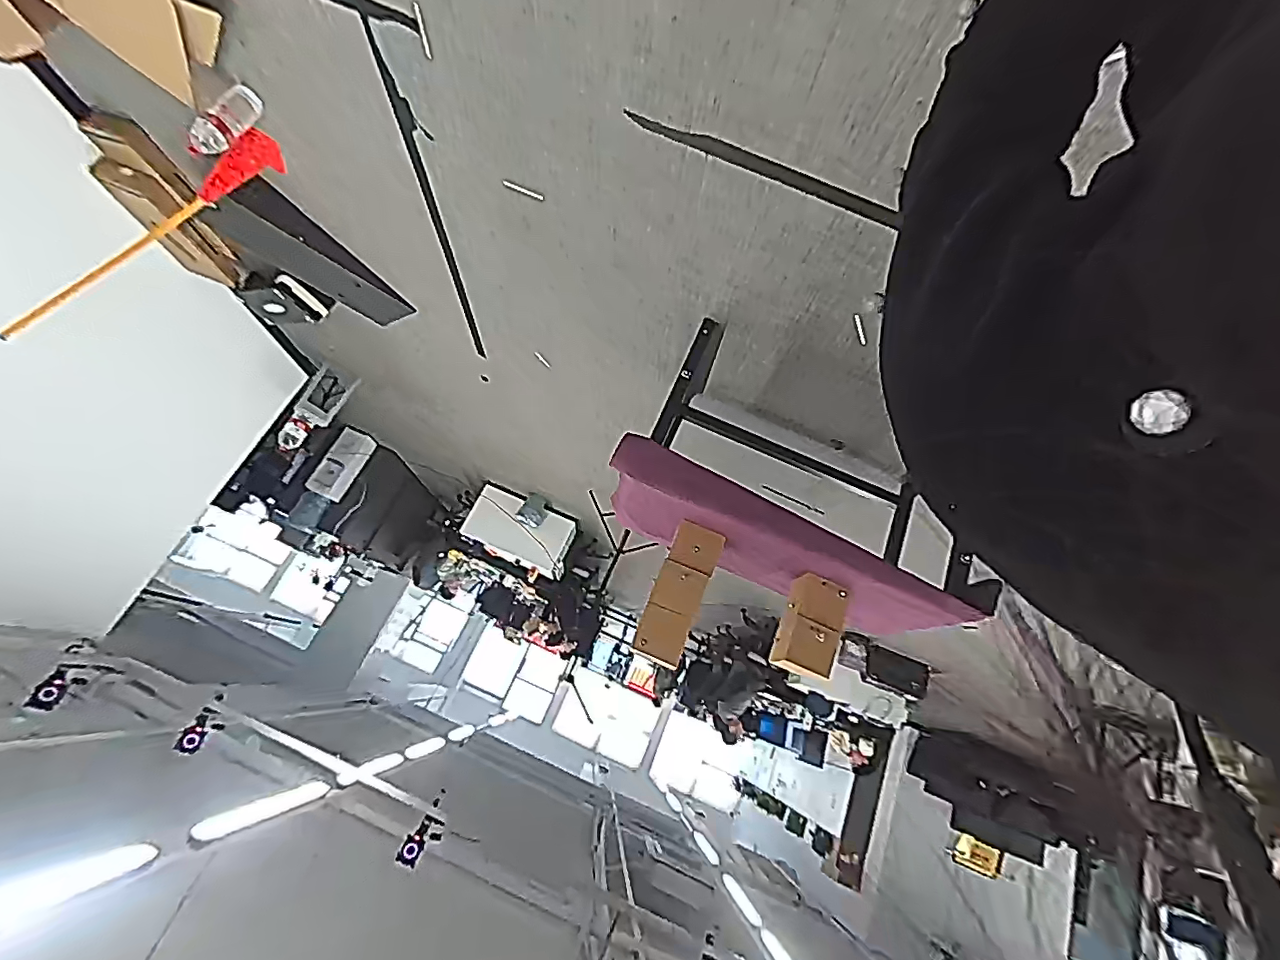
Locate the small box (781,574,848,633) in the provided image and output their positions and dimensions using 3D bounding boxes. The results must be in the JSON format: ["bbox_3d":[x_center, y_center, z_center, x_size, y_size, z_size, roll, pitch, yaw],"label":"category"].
[{"bbox_3d":[0.642,0.457,1.984,0.168,0.176,0.179,24,160,4],"label":"small box"}]

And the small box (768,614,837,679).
[{"bbox_3d":[0.577,0.590,1.915,0.168,0.176,0.179,23,158,4],"label":"small box"}]

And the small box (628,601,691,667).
[{"bbox_3d":[0.070,0.543,1.901,0.179,0.176,0.168,21,159,7],"label":"small box"}]

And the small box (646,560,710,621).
[{"bbox_3d":[0.133,0.401,1.950,0.179,0.176,0.168,22,160,8],"label":"small box"}]
